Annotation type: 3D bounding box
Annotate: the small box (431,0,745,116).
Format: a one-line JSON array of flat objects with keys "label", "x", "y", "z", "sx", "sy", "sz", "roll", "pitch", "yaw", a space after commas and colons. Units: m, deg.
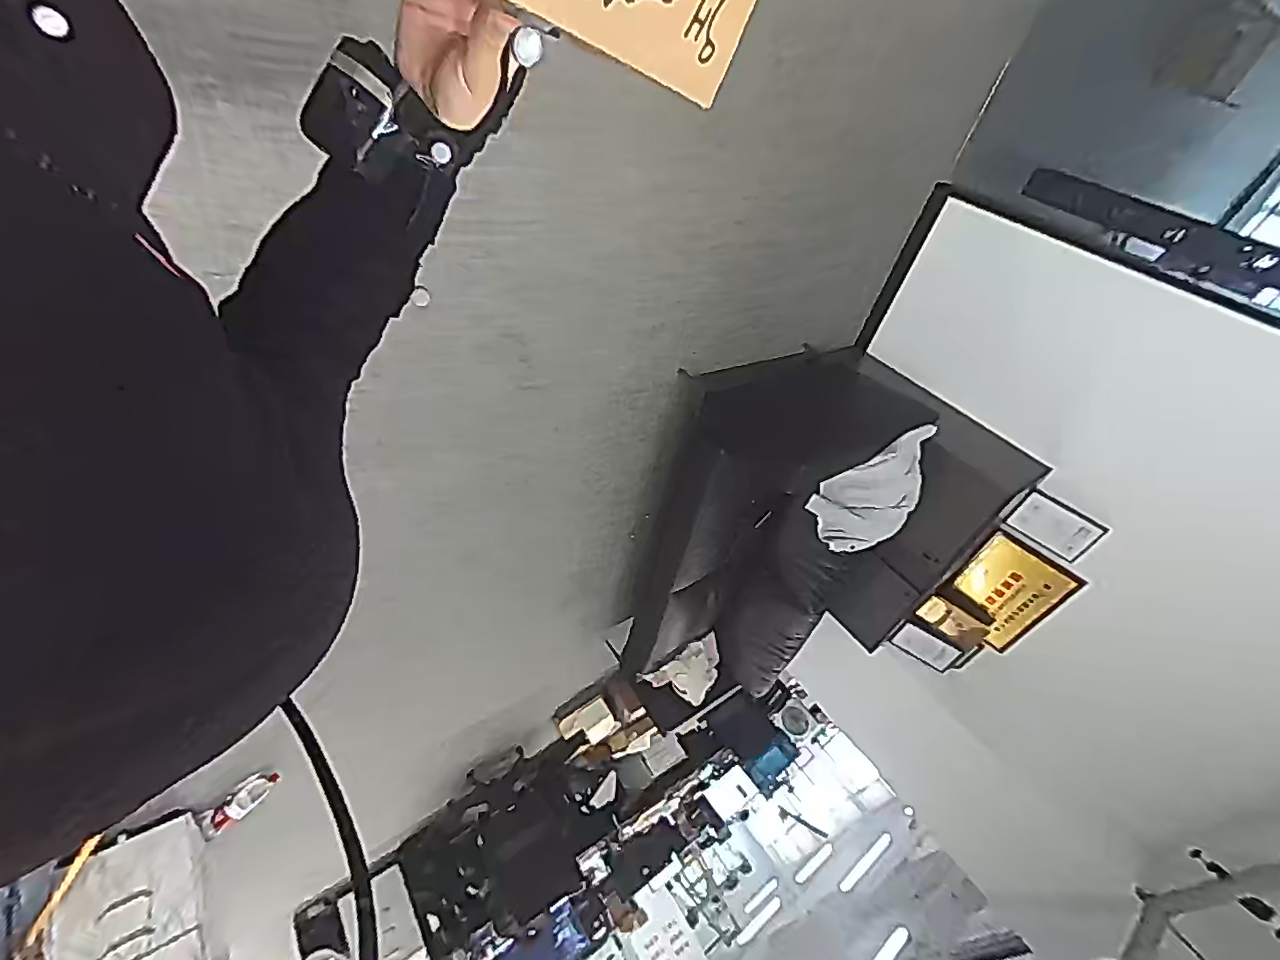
[{"label": "small box", "x": -0.046, "y": -0.278, "z": 0.198, "sx": 0.168, "sy": 0.176, "sz": 0.179, "roll": -25, "pitch": 147, "yaw": -50}]
